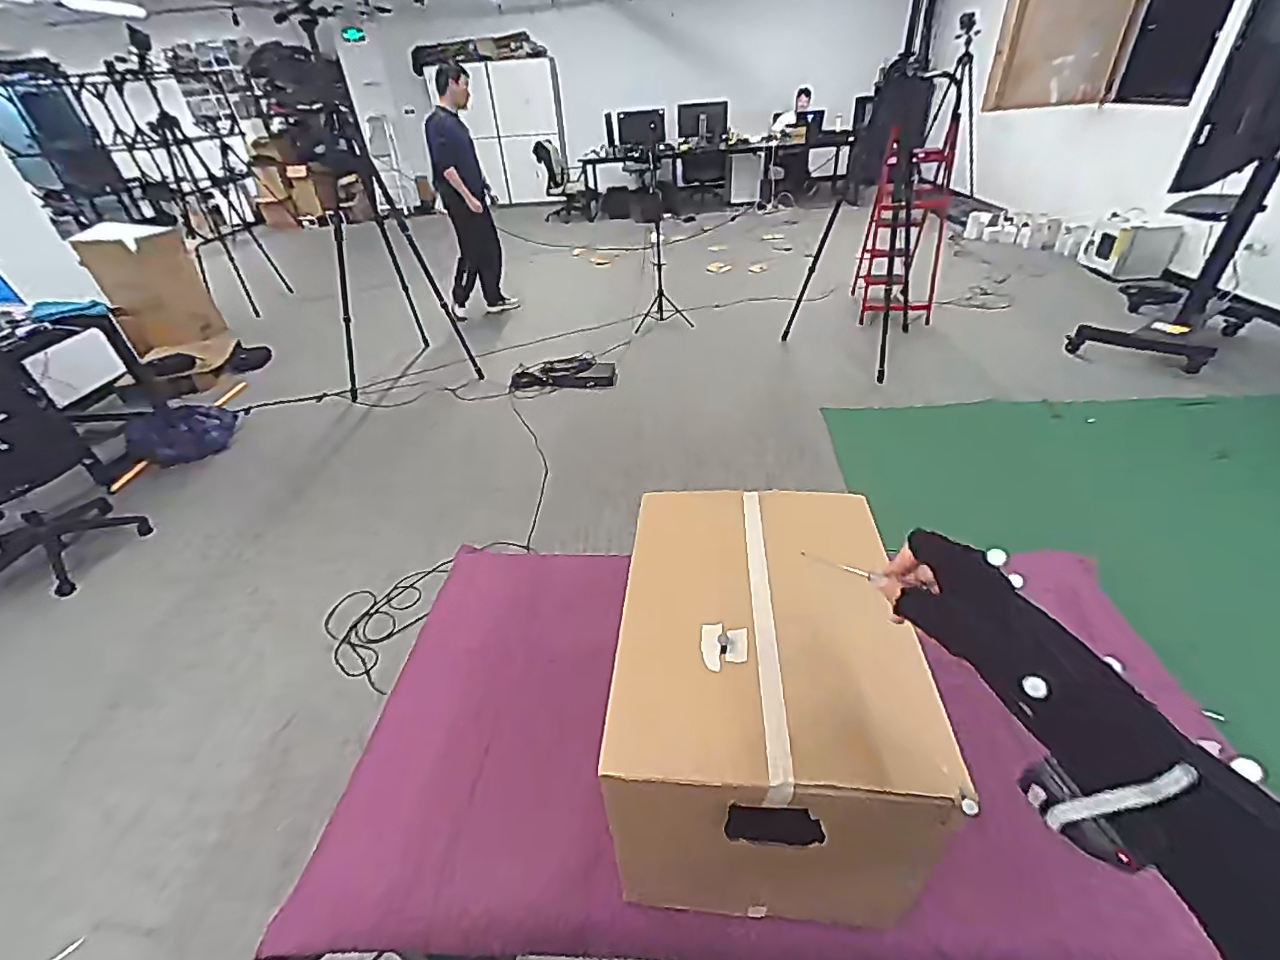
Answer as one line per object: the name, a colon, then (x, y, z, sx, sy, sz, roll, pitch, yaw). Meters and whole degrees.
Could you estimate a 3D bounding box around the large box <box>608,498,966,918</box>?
large box: (0.145, 0.268, 0.711, 0.320, 0.320, 0.408, 1, 37, 7)
